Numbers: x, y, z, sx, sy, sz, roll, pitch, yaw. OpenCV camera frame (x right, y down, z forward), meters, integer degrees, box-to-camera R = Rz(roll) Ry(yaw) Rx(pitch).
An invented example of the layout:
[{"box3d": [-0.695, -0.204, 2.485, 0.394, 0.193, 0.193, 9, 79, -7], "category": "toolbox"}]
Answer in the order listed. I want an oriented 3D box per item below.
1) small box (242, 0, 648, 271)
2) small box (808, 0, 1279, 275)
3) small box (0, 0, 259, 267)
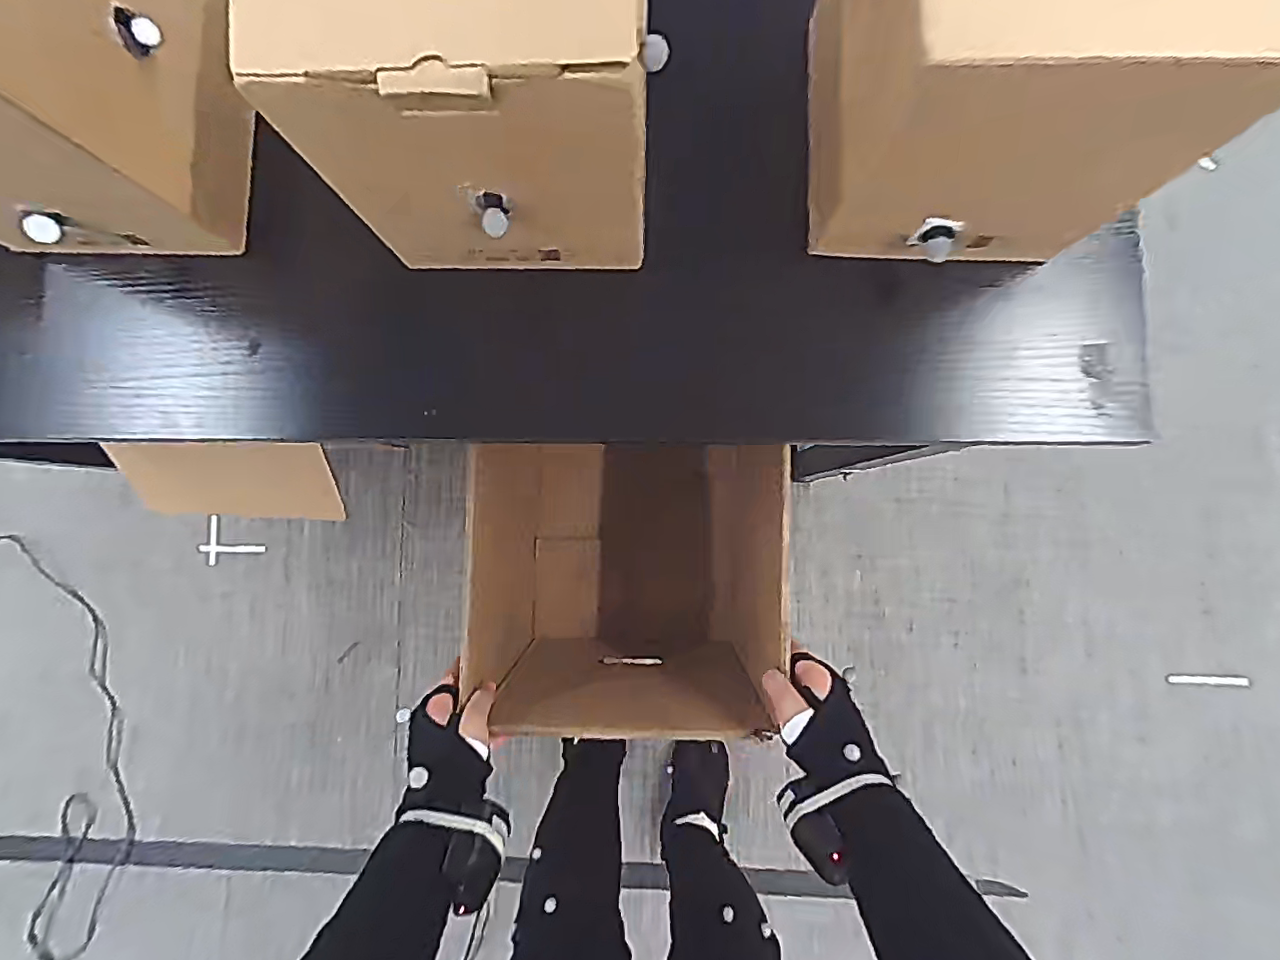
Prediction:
[{"box3d": [-0.080, -0.234, 0.306, 0.168, 0.176, 0.179, 0, 86, 1], "category": "small box"}, {"box3d": [0.197, -0.237, 0.303, 0.168, 0.176, 0.179, 1, 86, 2], "category": "small box"}, {"box3d": [-0.356, -0.246, 0.309, 0.168, 0.176, 0.179, 1, 86, 1], "category": "small box"}]
